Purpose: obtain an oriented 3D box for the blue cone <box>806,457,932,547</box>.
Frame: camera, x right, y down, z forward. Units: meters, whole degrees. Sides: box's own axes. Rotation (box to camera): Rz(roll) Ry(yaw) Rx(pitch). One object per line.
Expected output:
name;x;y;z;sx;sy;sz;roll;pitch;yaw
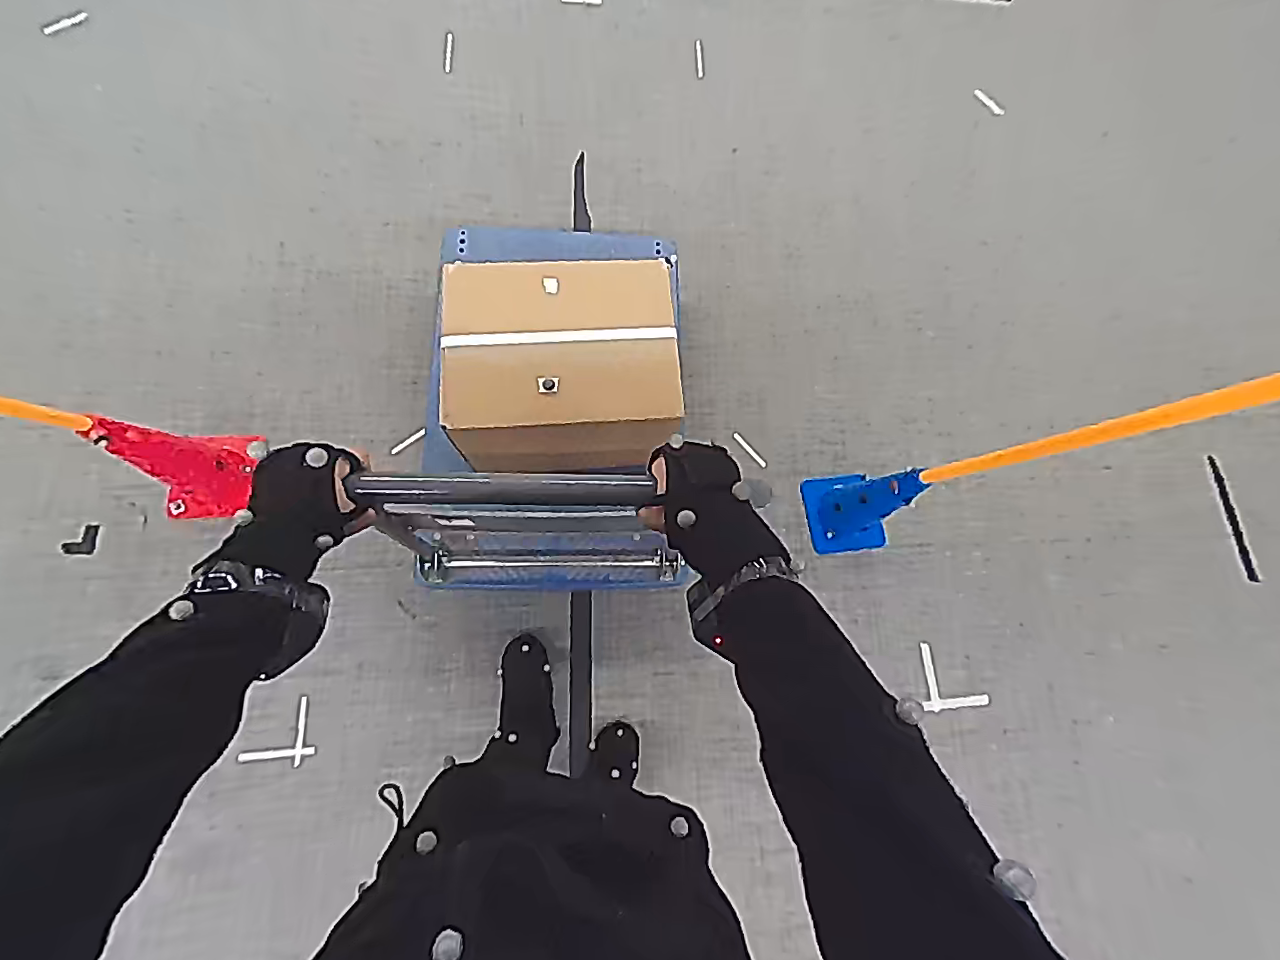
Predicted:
blue cone;0.554;0.032;1.256;0.193;0.380;0.192;-5;74;-7
